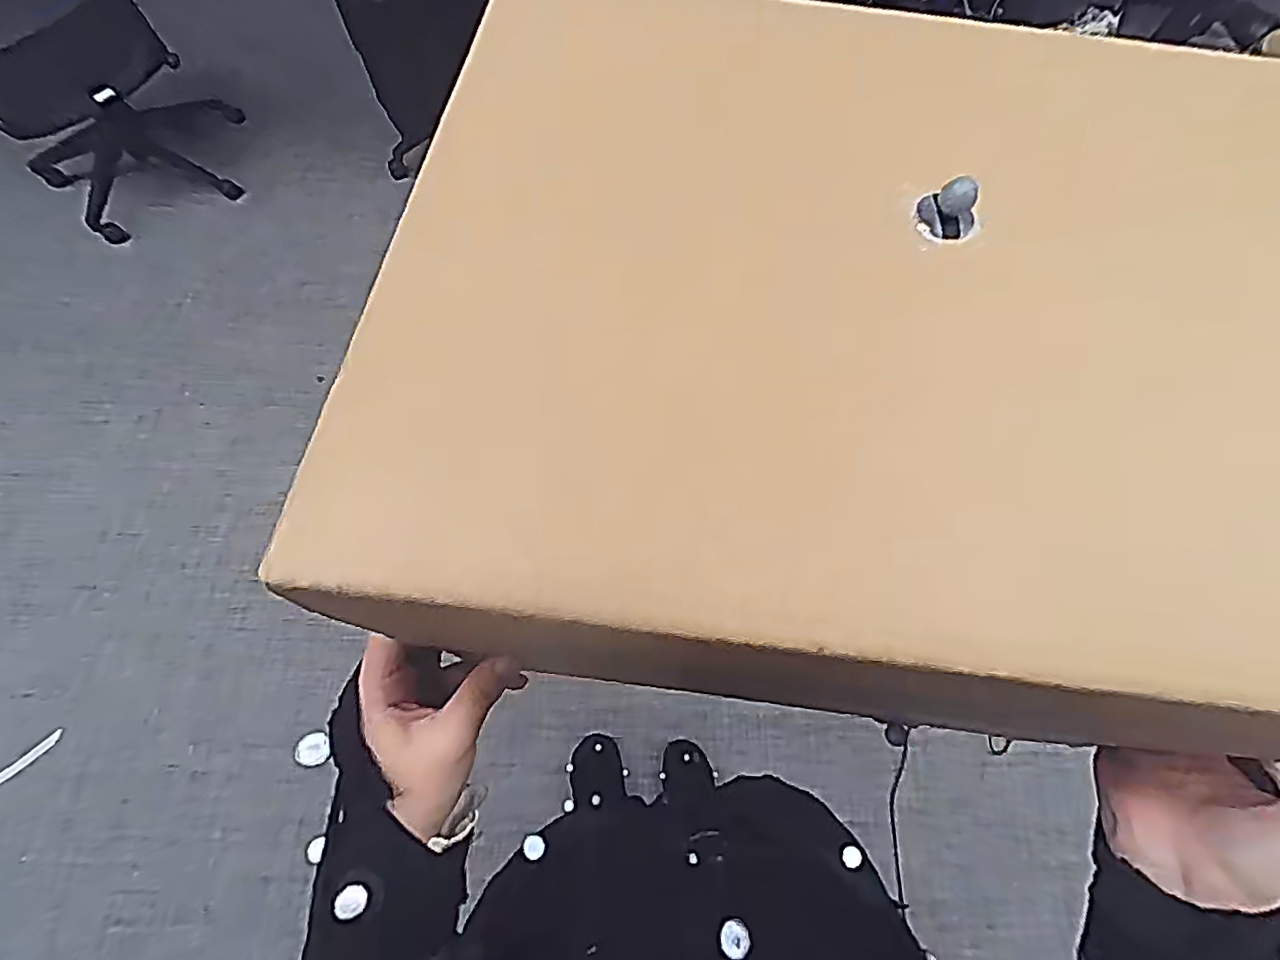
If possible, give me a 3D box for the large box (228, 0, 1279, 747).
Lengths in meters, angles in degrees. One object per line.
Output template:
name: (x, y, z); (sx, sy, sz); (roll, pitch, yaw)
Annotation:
large box: (0.090, -0.031, 0.339); (0.408, 0.320, 0.320); (6, 68, 1)
